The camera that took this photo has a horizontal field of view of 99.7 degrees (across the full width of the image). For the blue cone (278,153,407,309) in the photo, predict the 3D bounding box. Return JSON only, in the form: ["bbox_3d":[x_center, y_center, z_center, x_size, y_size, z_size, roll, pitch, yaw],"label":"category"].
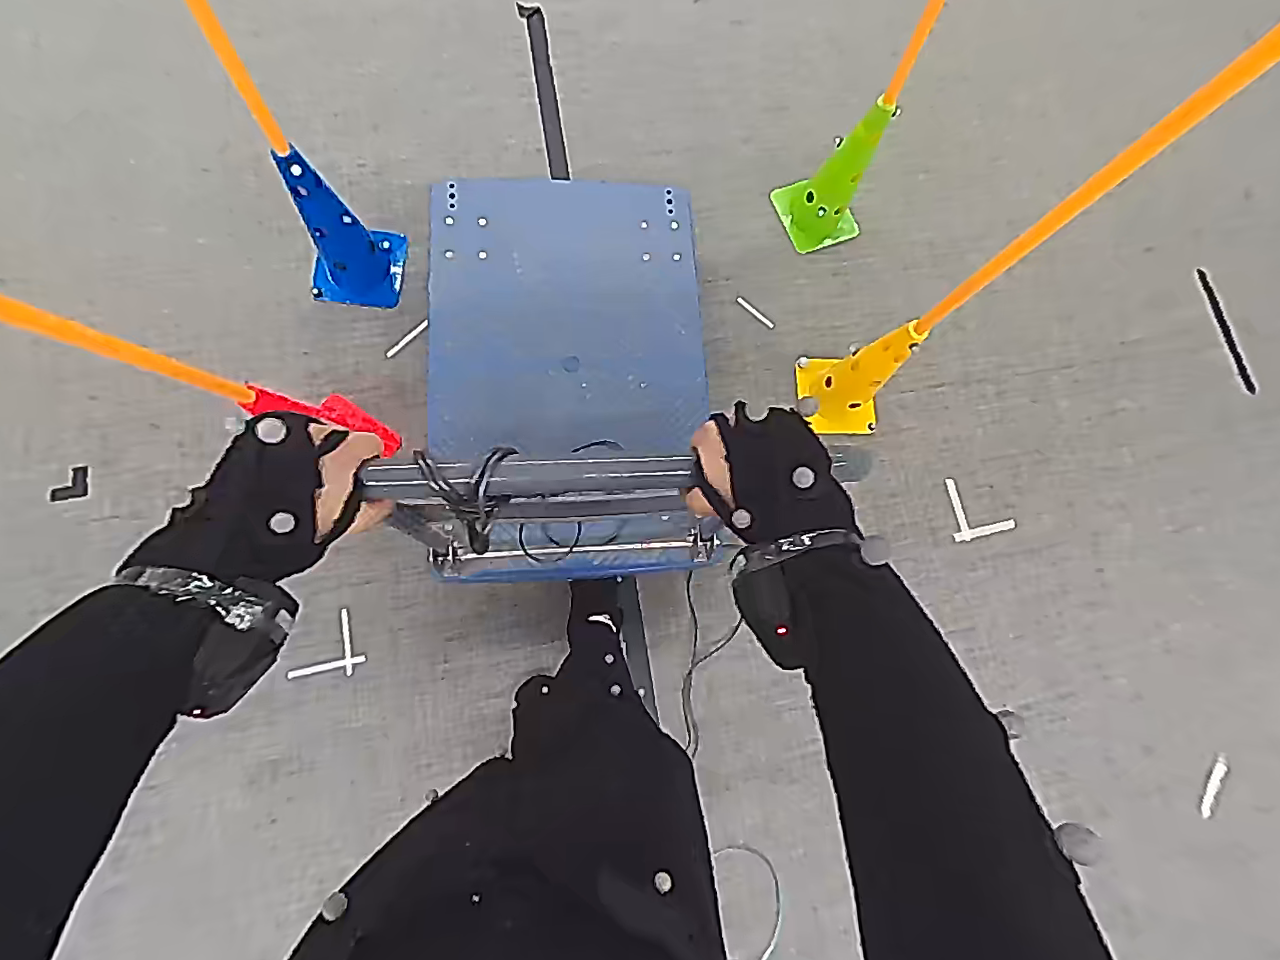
[{"bbox_3d":[-0.645,-0.539,1.139,0.193,0.380,0.192,6,78,-5],"label":"blue cone"}]

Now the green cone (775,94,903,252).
[{"bbox_3d":[0.505,-0.760,1.302,0.200,0.368,0.202,-22,83,-10],"label":"green cone"}]

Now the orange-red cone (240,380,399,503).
[{"bbox_3d":[-0.645,-0.108,1.035,0.198,0.360,0.199,36,75,1],"label":"orange-red cone"}]
